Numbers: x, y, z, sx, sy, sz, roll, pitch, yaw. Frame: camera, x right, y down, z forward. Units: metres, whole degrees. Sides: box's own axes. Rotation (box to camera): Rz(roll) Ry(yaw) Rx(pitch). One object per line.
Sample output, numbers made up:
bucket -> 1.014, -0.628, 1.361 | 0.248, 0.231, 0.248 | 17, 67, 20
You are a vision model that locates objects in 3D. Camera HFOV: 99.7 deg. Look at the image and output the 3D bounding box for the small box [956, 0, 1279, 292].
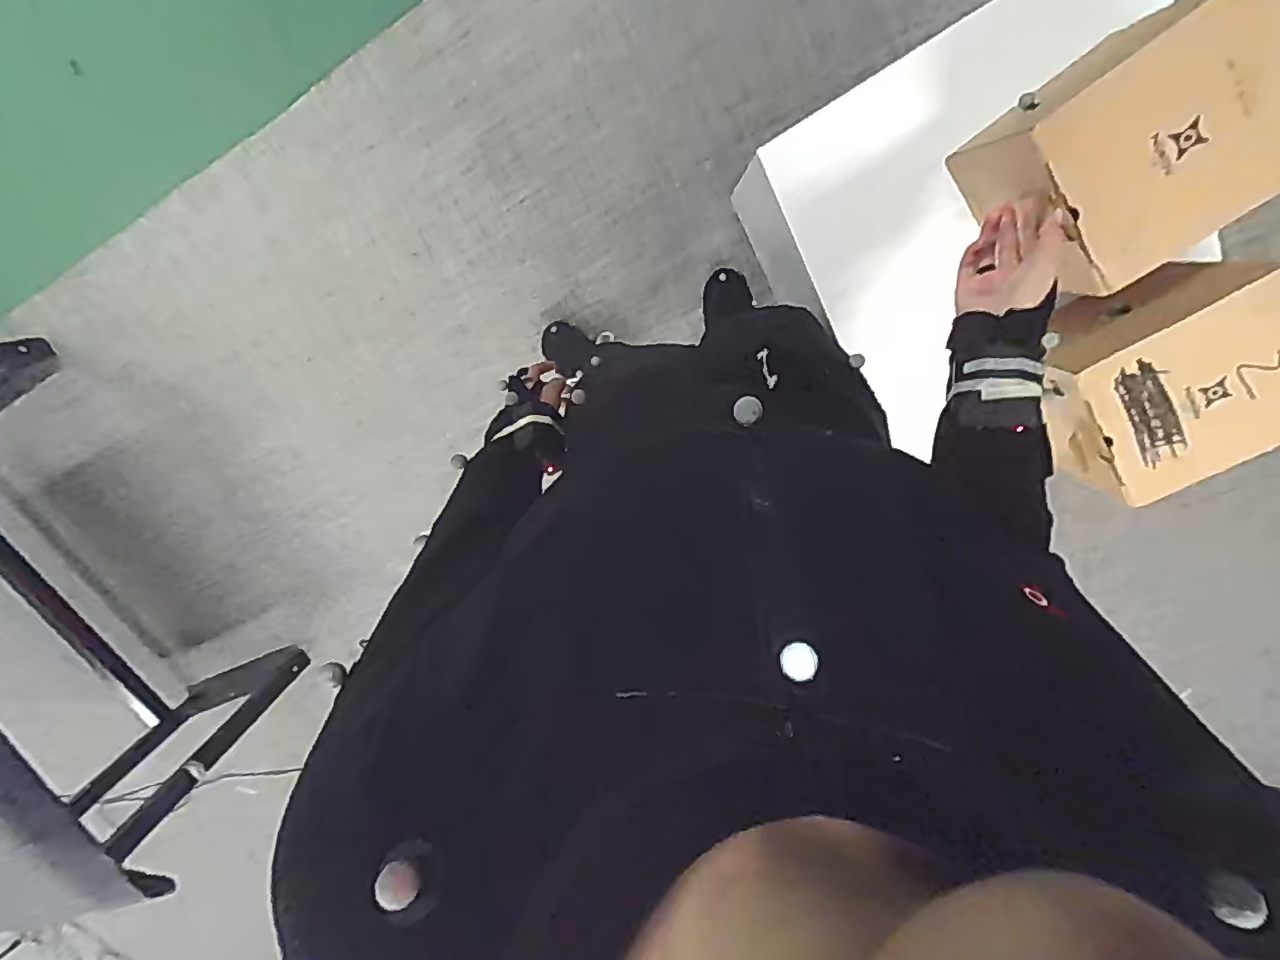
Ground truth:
small box -> 0.432, -0.302, 0.505 | 0.179, 0.176, 0.168 | -36, 107, 18
